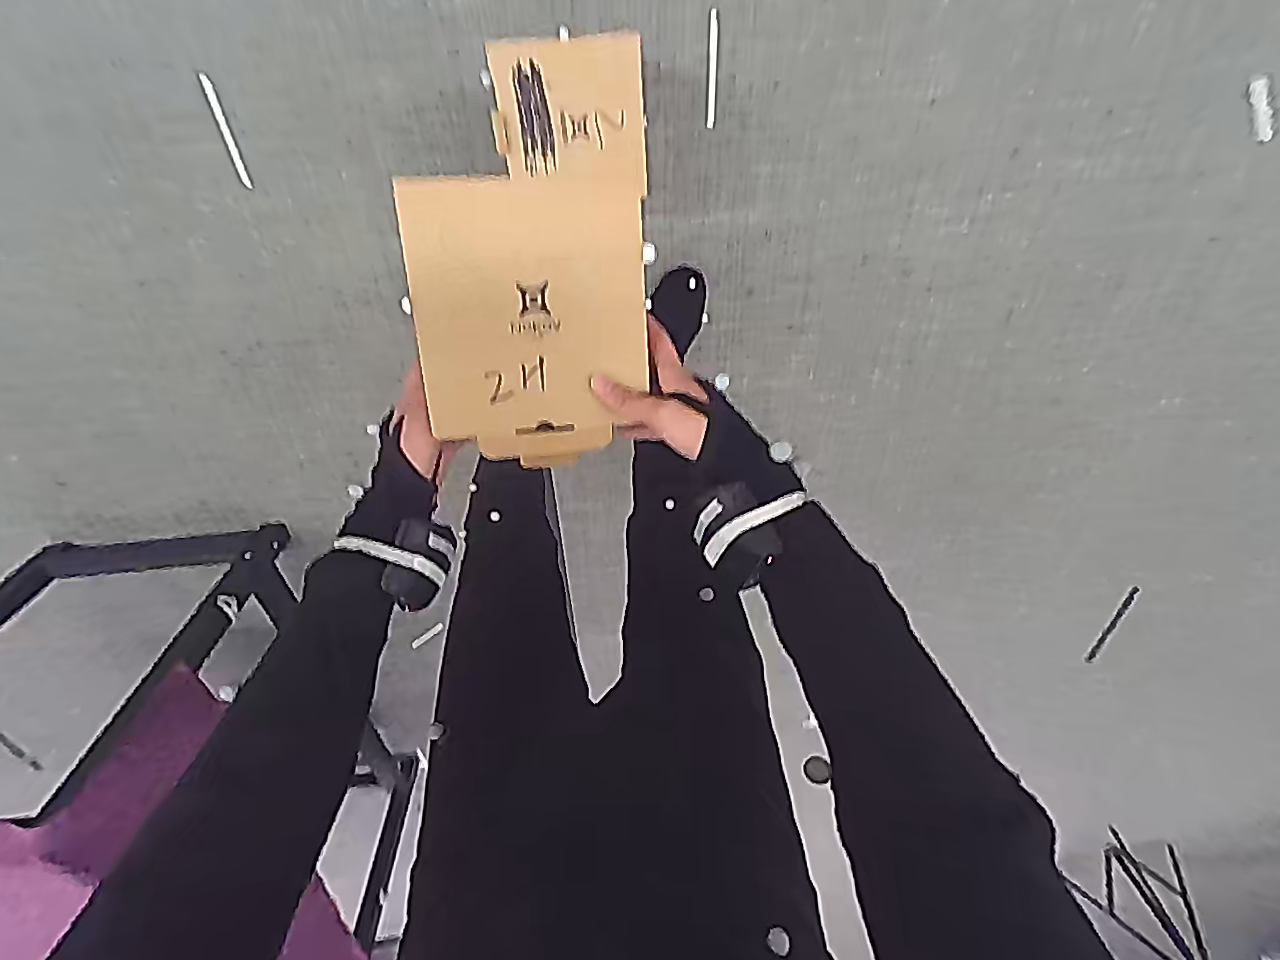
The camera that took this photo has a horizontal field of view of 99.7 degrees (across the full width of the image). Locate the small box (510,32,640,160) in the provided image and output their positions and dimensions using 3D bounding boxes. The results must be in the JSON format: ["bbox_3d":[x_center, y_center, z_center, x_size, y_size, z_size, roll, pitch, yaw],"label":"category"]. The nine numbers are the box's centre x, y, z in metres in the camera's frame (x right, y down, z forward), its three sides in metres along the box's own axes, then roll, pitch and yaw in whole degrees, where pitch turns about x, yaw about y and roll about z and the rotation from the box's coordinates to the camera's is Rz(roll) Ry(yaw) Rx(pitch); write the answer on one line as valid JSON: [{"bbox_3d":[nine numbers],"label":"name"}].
[{"bbox_3d":[-0.090,-0.567,0.835,0.168,0.176,0.179,-7,126,1],"label":"small box"}]

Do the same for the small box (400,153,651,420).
[{"bbox_3d":[-0.087,-0.154,0.458,0.168,0.176,0.179,-5,107,-8],"label":"small box"}]
